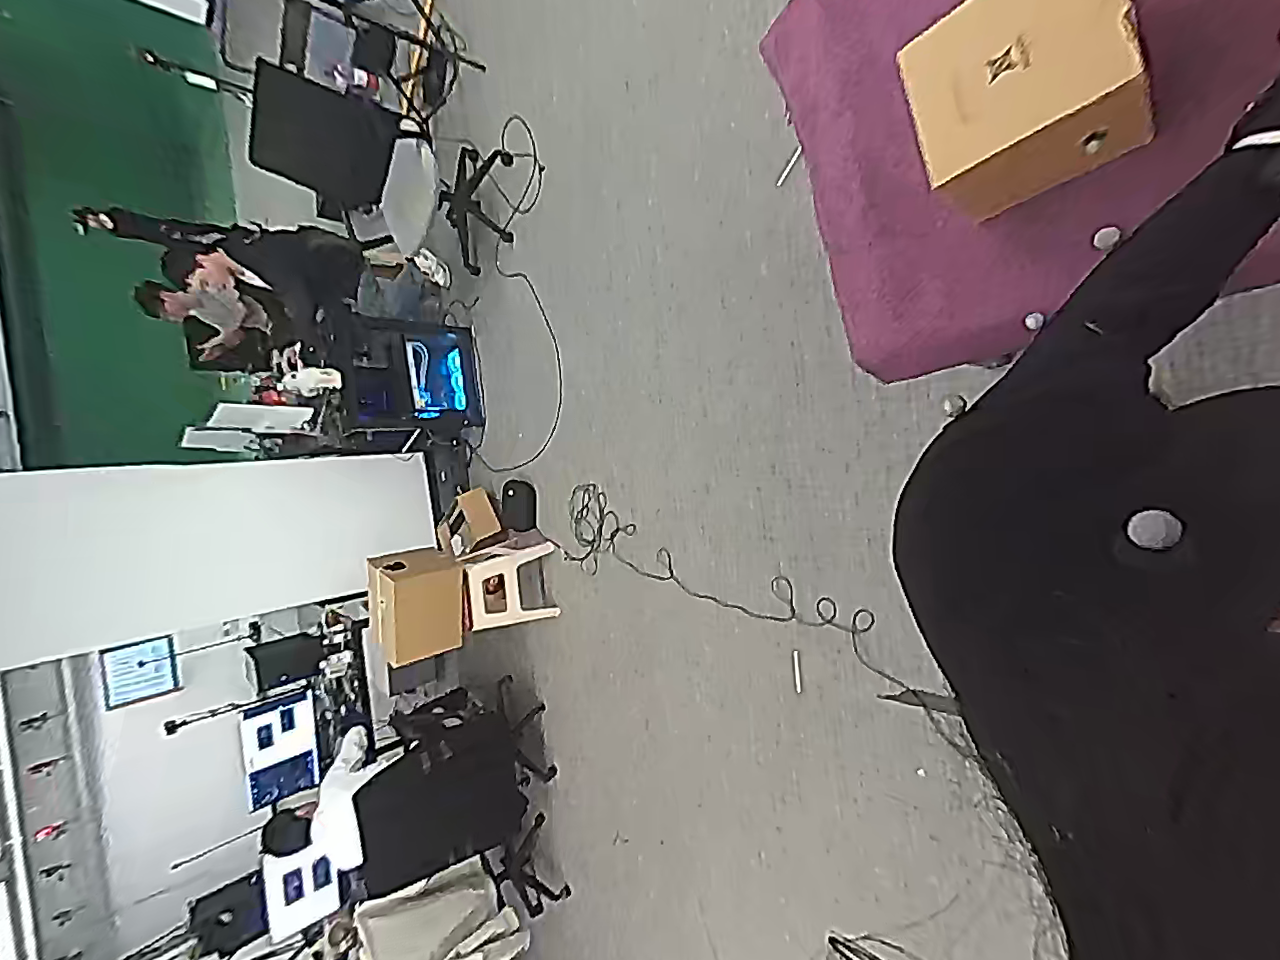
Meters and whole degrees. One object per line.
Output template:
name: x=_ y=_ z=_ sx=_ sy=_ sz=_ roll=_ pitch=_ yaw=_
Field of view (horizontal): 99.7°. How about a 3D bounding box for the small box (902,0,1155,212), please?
small box: x=0.418 y=-0.424 z=0.581 sx=0.179 sy=0.176 sz=0.168 roll=-18 pitch=82 yaw=47
